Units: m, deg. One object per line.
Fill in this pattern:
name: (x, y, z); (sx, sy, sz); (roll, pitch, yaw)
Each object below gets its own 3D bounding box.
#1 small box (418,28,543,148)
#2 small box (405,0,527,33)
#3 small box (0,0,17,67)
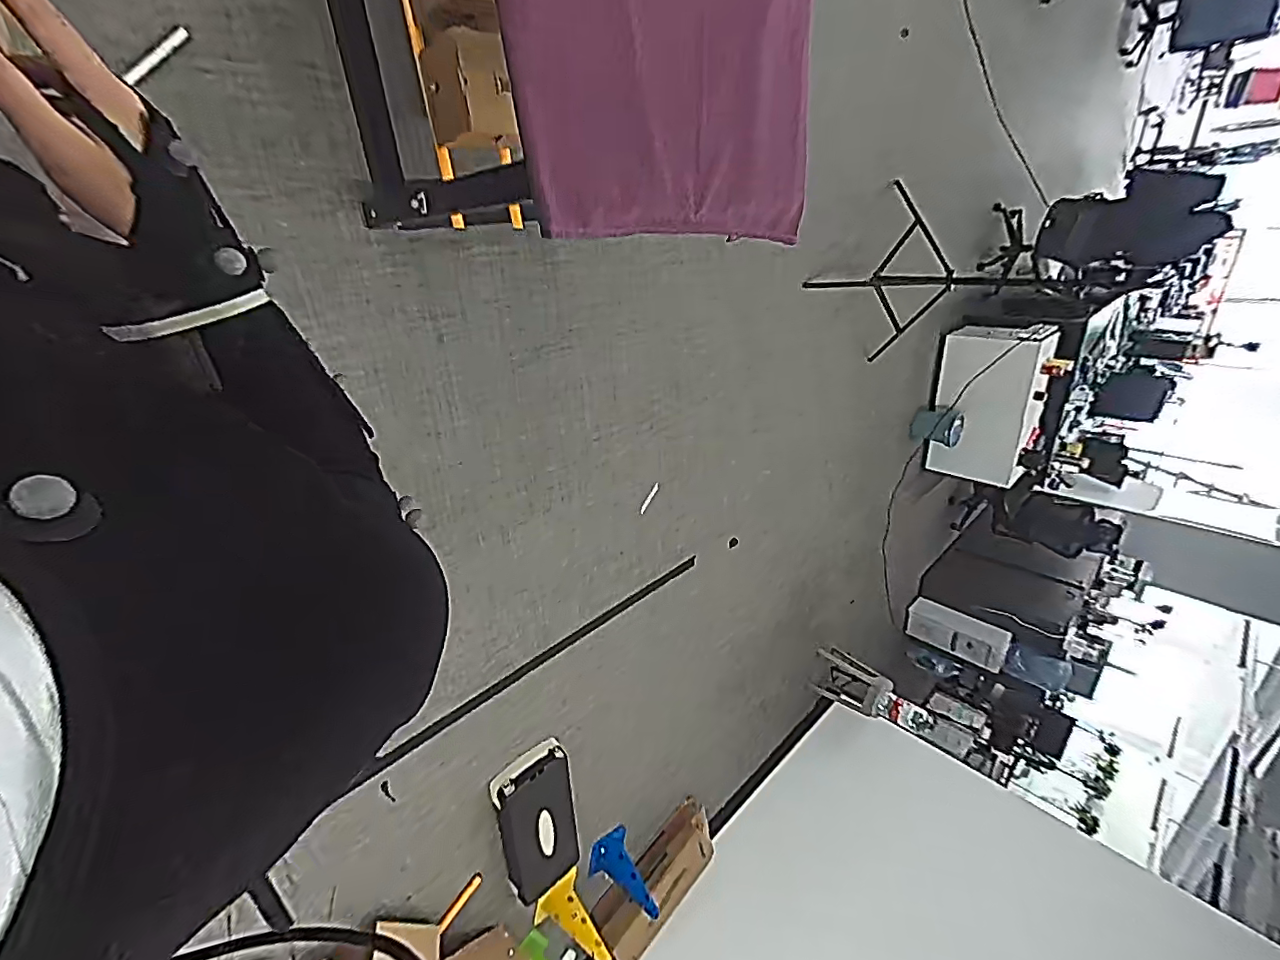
small box: (-0.328, -0.795, 1.117); (0.179, 0.176, 0.168); (-25, 121, -35)
small box: (-0.343, -0.983, 1.032); (0.179, 0.176, 0.168); (-24, 121, -35)
small box: (-0.383, -0.292, 0.200); (0.168, 0.176, 0.179); (-15, 135, -39)
